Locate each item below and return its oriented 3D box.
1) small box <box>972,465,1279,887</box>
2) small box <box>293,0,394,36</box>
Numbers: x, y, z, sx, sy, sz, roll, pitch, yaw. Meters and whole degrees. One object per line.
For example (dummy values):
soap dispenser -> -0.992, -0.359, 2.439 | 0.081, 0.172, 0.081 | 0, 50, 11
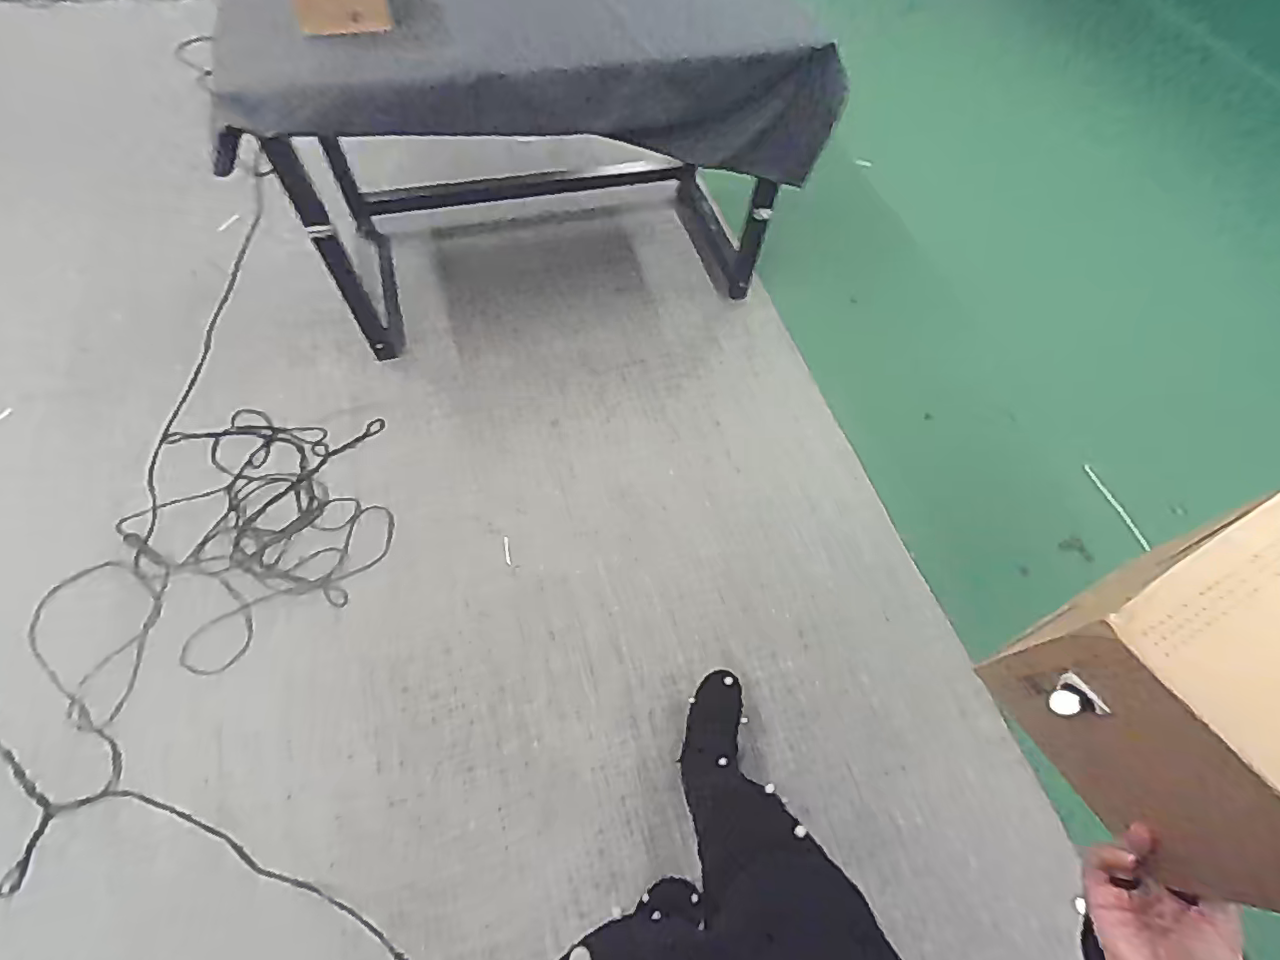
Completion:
small box -> 0.371, 0.120, 0.349 | 0.179, 0.168, 0.176 | -29, 62, -9
small box -> -0.574, -0.963, 1.008 | 0.168, 0.176, 0.179 | -14, 63, -12
